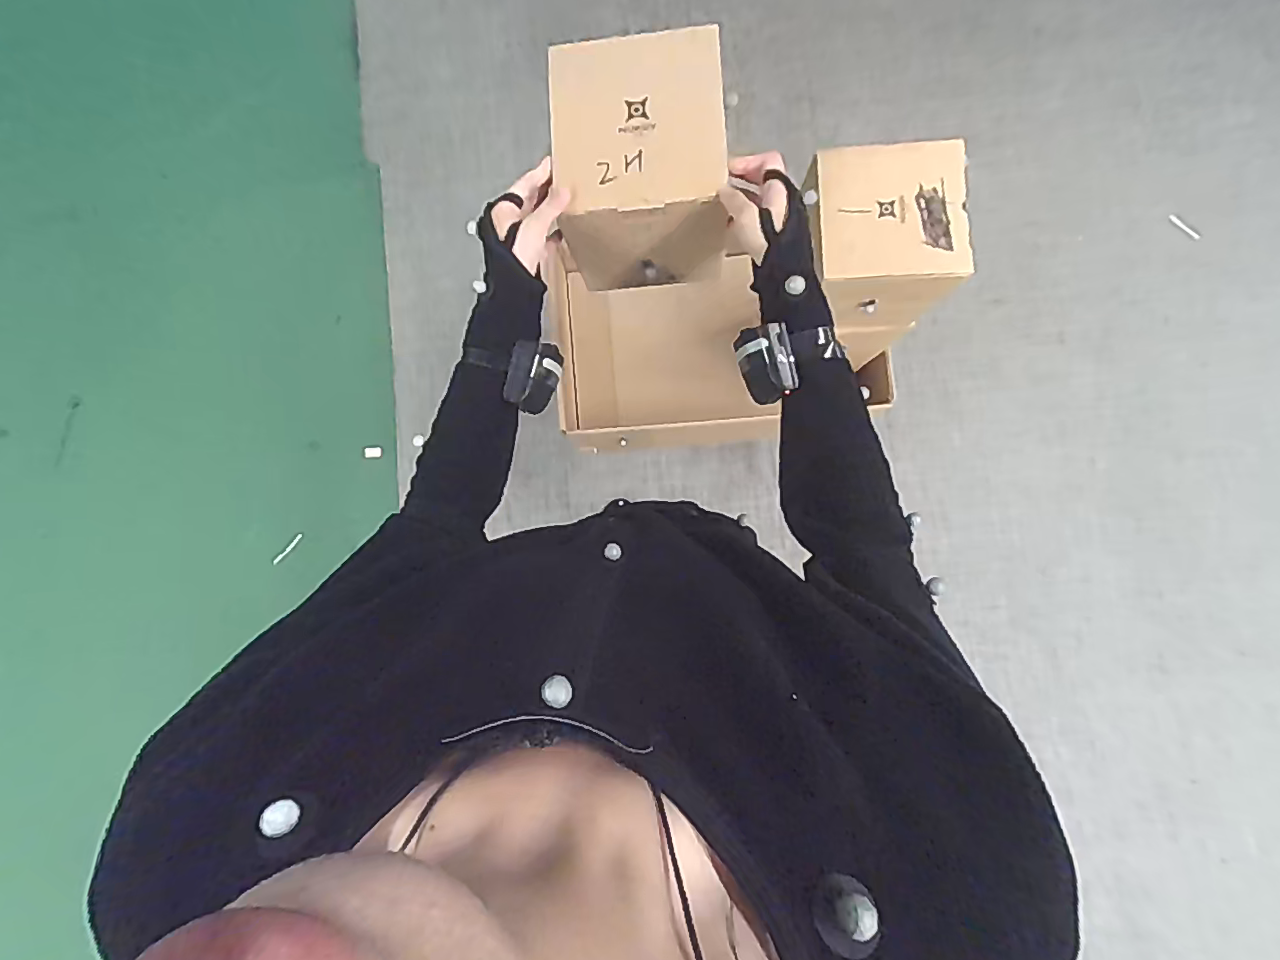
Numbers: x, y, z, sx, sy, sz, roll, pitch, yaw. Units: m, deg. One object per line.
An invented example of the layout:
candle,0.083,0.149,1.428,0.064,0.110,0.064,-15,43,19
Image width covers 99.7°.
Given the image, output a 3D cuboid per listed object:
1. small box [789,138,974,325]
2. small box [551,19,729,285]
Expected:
small box,0.303,-0.313,0.712,0.179,0.176,0.168,-1,85,4
small box,0.005,-0.333,0.581,0.168,0.176,0.179,-3,86,5
